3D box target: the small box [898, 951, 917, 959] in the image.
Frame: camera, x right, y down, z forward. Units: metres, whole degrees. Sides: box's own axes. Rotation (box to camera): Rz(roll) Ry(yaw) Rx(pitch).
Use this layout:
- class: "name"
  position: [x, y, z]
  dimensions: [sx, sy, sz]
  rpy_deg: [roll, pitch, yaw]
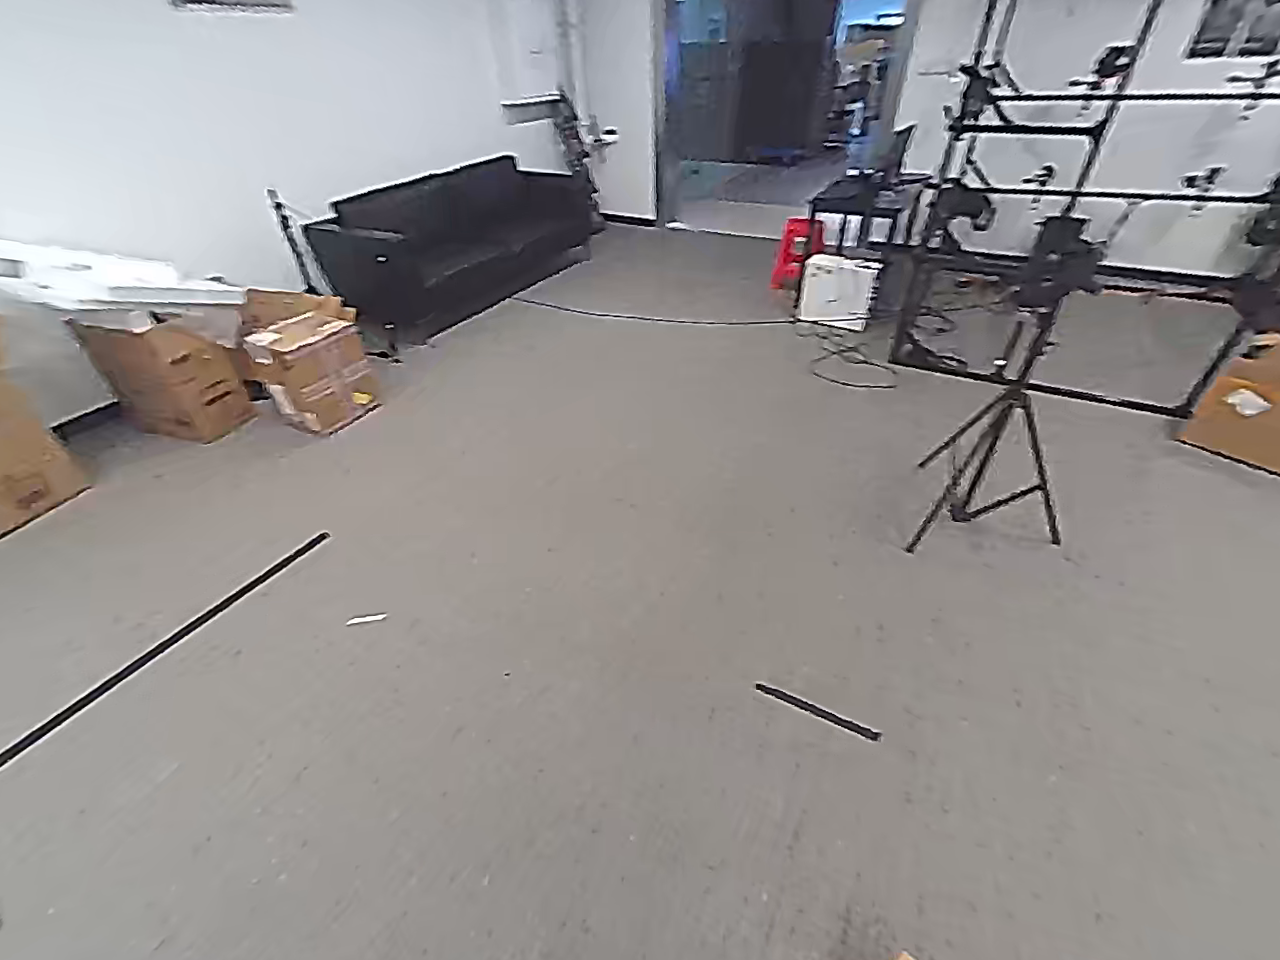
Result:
- class: "small box"
  position: [0.513, 1.050, 1.010]
  dimensions: [0.168, 0.176, 0.179]
  rpy_deg: [31, 48, 34]
